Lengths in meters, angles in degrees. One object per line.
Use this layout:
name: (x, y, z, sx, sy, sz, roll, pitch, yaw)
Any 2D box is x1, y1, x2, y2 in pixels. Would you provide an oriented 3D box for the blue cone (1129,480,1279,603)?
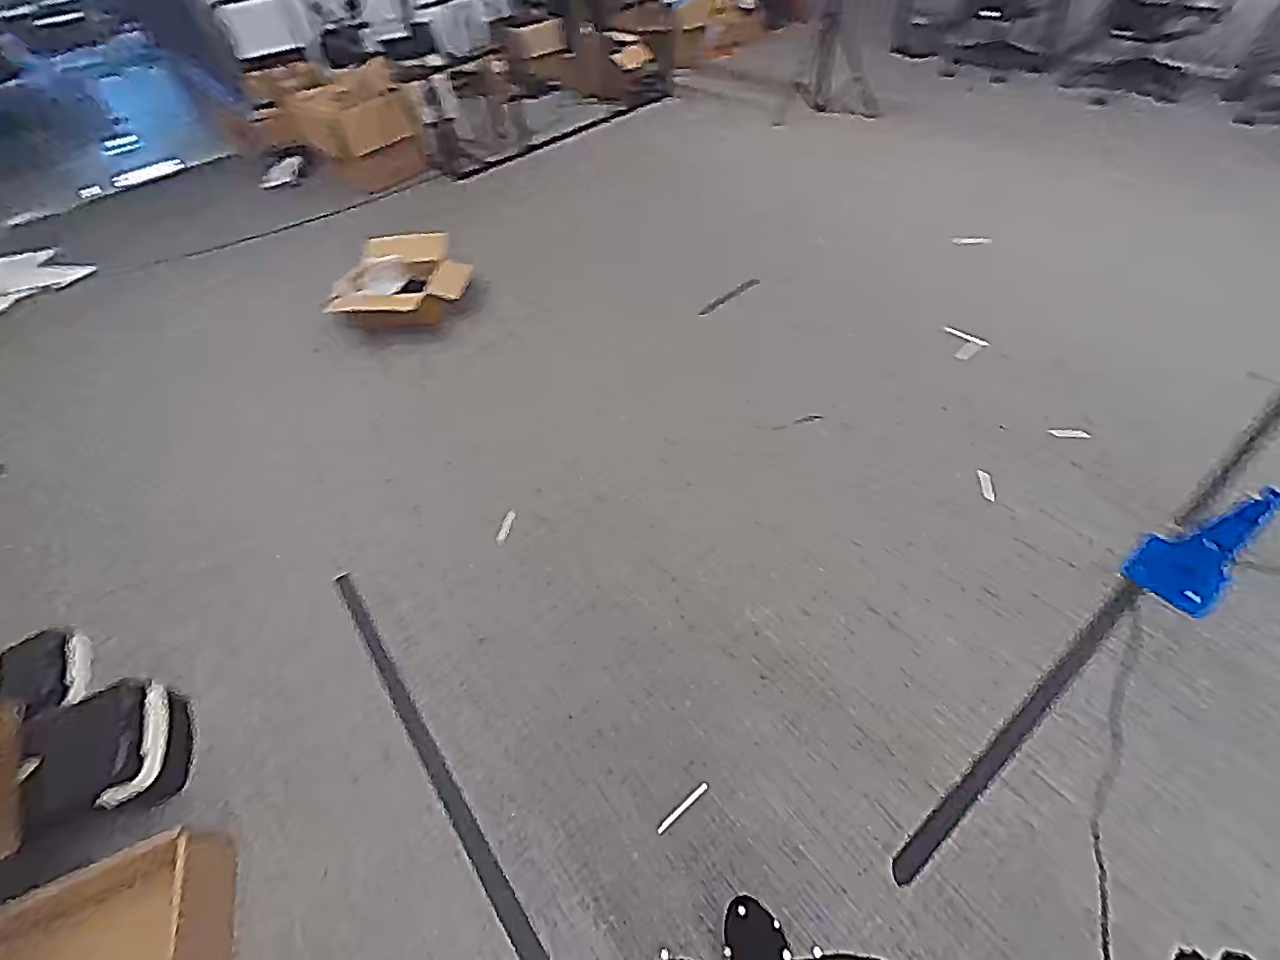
blue cone: (1.457, 0.125, 1.353, 0.192, 0.380, 0.193, -36, 55, -21)
